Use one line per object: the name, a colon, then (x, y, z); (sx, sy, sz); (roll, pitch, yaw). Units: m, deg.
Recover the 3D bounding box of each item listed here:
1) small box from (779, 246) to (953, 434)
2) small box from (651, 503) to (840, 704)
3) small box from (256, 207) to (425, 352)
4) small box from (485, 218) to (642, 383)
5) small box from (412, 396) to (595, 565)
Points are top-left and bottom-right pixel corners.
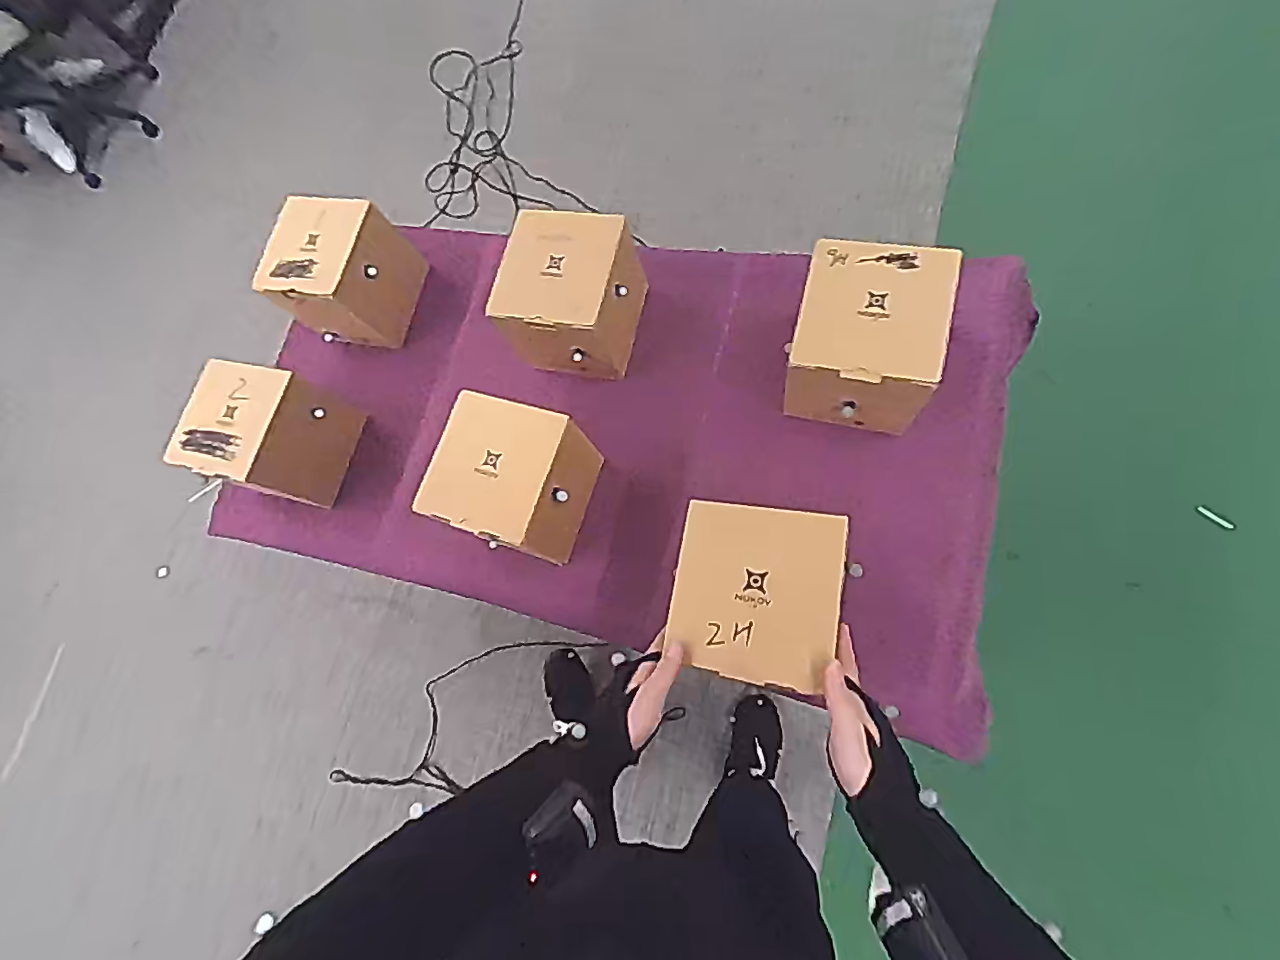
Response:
small box: (0.284, -0.174, 0.709); (0.168, 0.176, 0.179); (12, 79, 16)
small box: (0.128, 0.141, 0.608); (0.168, 0.176, 0.179); (5, 72, 22)
small box: (-0.505, -0.340, 0.938); (0.168, 0.176, 0.179); (9, 78, 15)
small box: (-0.104, -0.266, 0.827); (0.168, 0.176, 0.179); (11, 78, 15)
small box: (-0.177, 0.008, 0.767); (0.168, 0.176, 0.179); (15, 78, 16)
